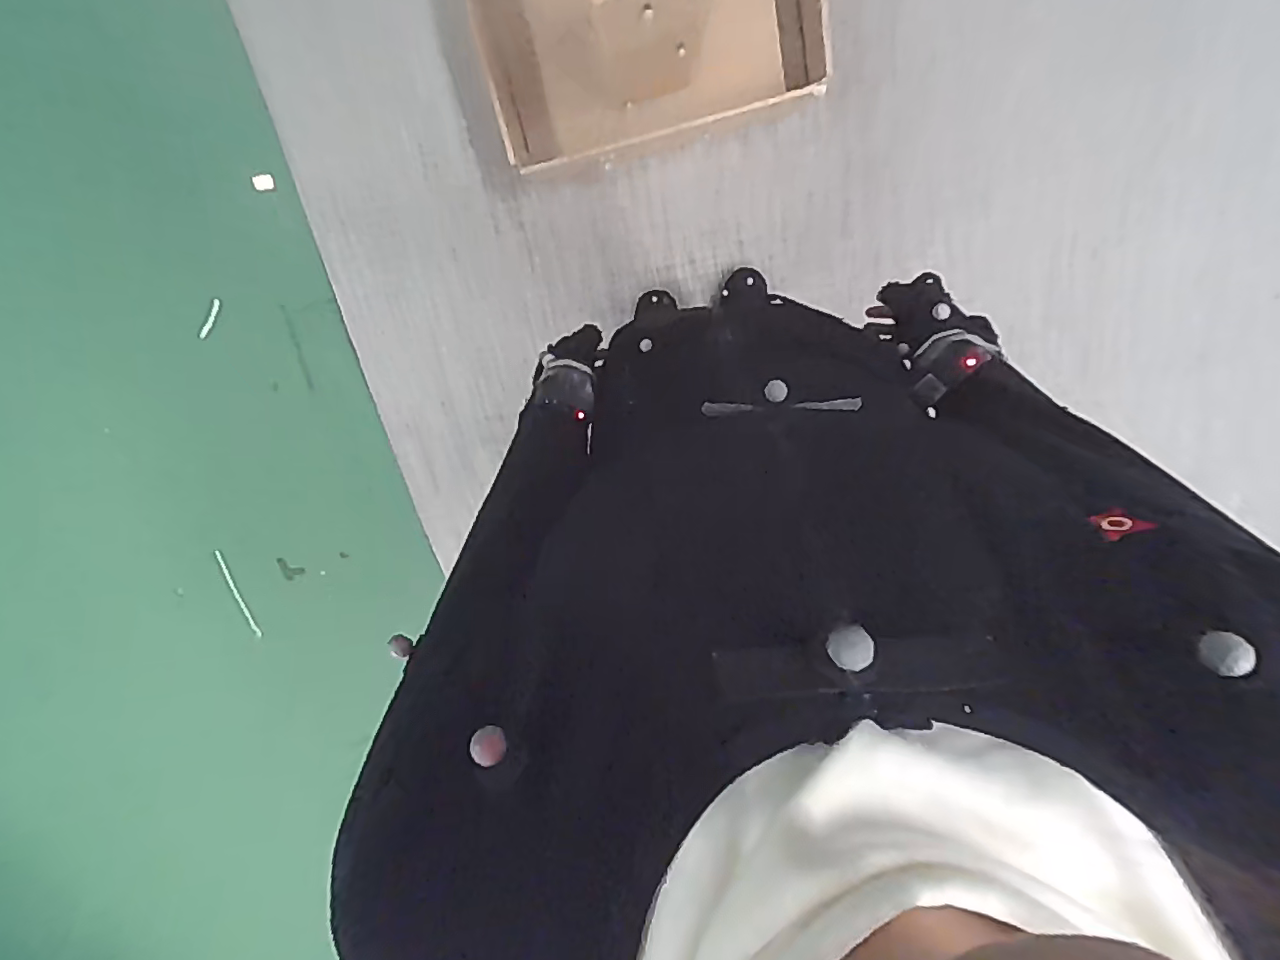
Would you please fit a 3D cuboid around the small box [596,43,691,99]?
[{"bbox_3d":[-0.001,-0.848,1.017,0.168,0.176,0.179,-12,110,7],"label":"small box"}]
